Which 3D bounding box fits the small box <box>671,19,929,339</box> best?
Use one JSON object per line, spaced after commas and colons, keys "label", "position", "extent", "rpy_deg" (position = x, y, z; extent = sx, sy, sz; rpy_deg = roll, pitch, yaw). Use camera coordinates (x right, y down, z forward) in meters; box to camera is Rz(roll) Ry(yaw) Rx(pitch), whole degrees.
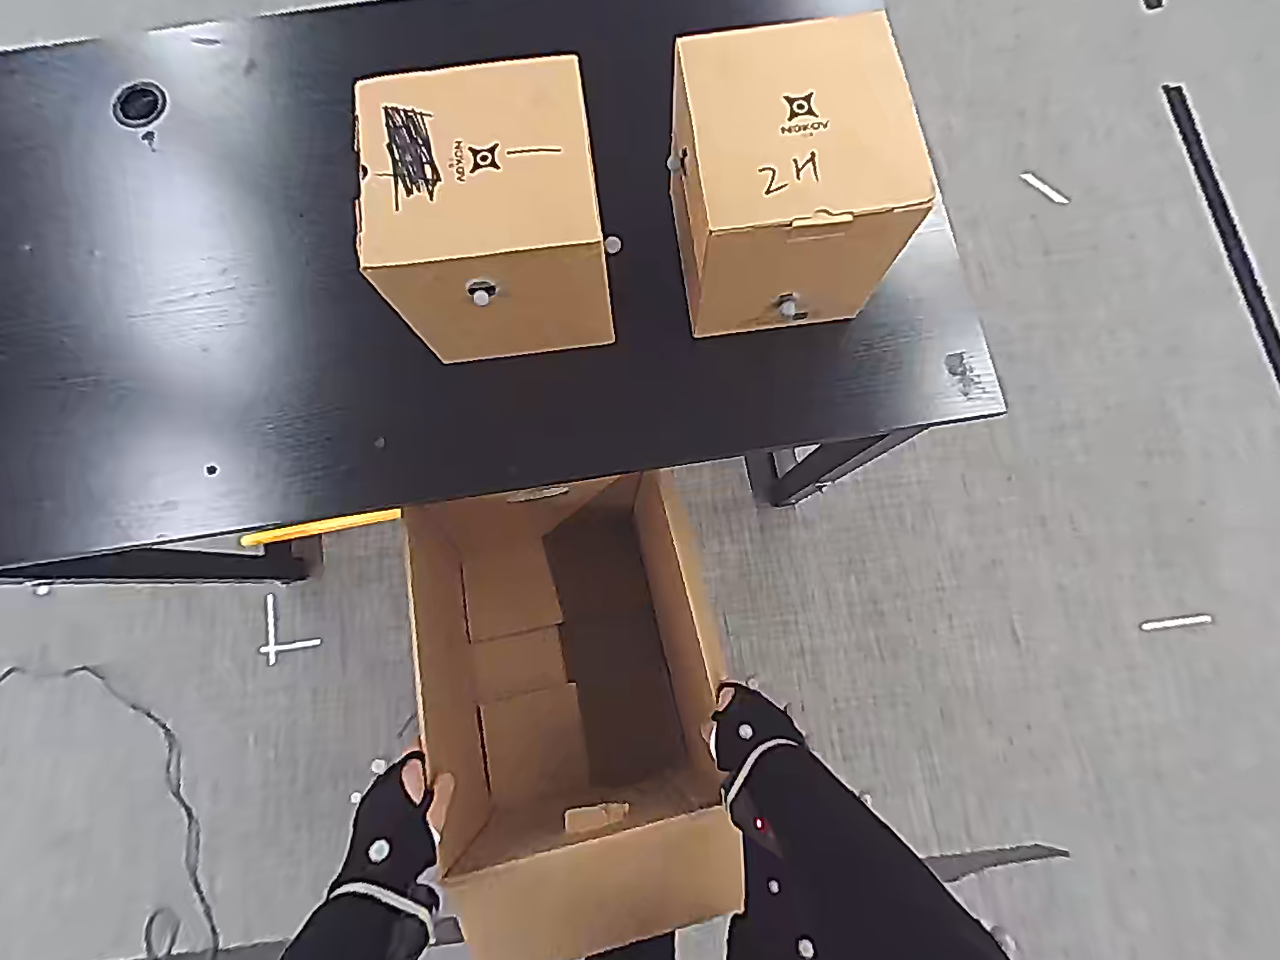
{"label": "small box", "position": [0.119, -0.249, 0.481], "extent": [0.168, 0.176, 0.179], "rpy_deg": [-7, 78, 1]}

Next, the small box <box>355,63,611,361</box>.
{"label": "small box", "position": [-0.124, -0.218, 0.481], "extent": [0.179, 0.176, 0.168], "rpy_deg": [-7, 79, -1]}
